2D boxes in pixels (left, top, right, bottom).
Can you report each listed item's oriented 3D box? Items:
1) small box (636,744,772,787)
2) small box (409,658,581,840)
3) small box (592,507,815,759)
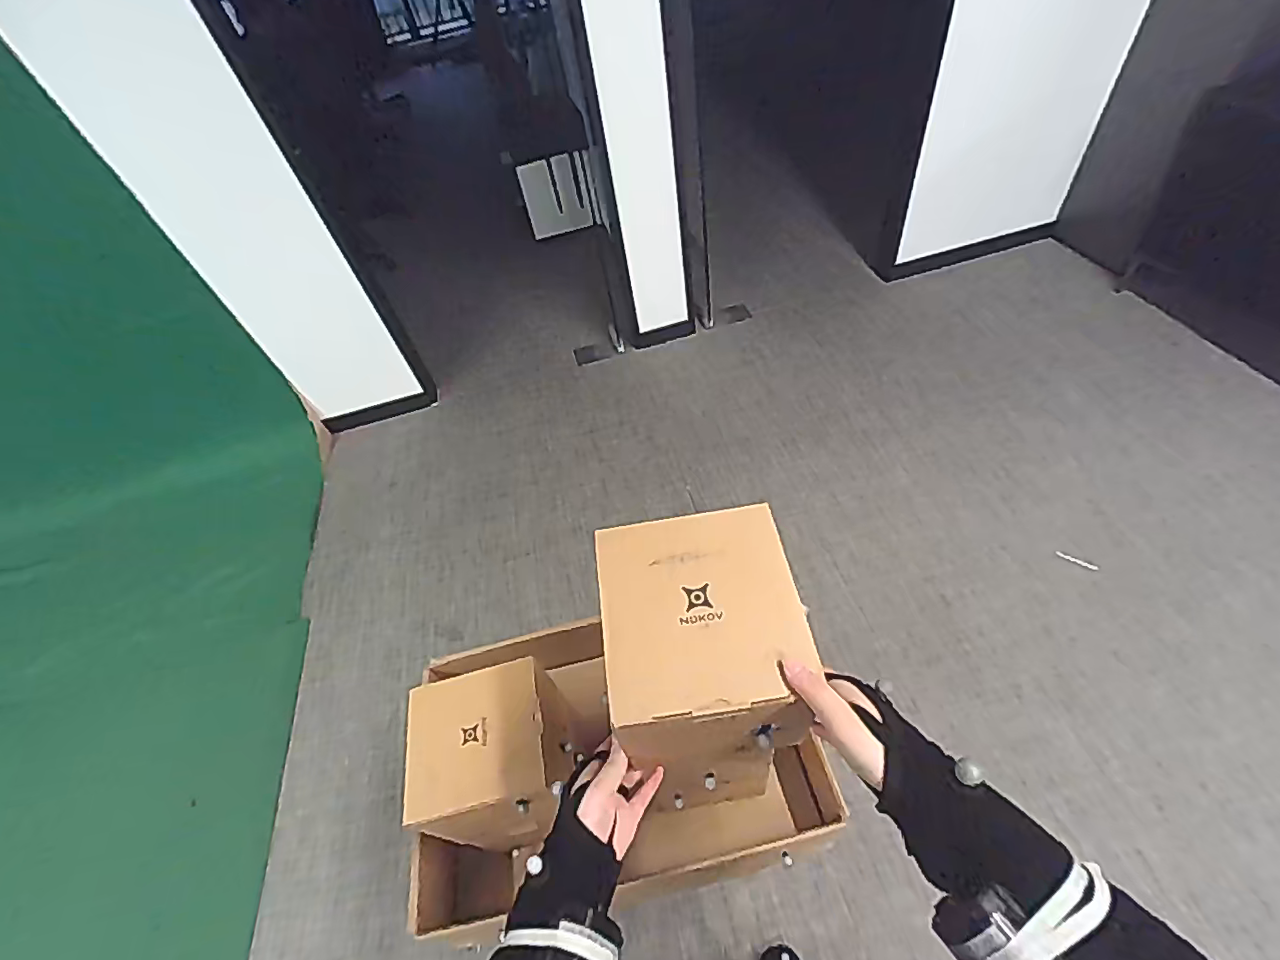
[{"bbox_3d":[0.082,0.310,0.745,0.168,0.176,0.179,-10,50,3],"label":"small box"},{"bbox_3d":[-0.194,0.377,0.751,0.179,0.176,0.168,-15,49,-2],"label":"small box"},{"bbox_3d":[0.054,0.153,0.517,0.168,0.176,0.179,-9,51,1],"label":"small box"}]
